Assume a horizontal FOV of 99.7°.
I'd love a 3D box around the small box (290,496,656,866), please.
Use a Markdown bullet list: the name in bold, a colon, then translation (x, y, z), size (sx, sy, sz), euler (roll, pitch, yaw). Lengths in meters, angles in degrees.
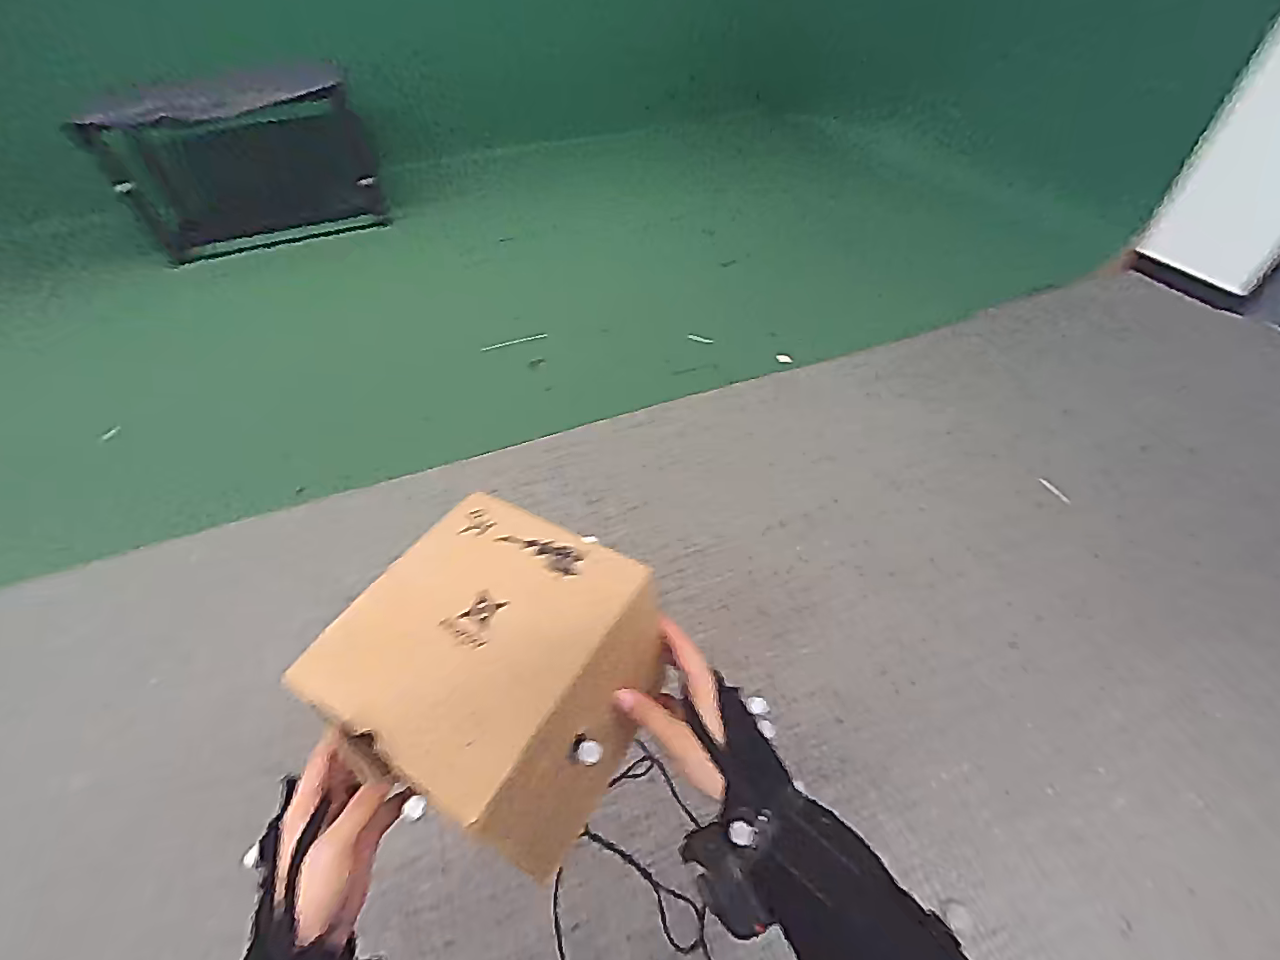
- **small box**: translation (-0.099, 0.148, 0.407), size (0.168, 0.176, 0.179), euler (20, 53, 25)
